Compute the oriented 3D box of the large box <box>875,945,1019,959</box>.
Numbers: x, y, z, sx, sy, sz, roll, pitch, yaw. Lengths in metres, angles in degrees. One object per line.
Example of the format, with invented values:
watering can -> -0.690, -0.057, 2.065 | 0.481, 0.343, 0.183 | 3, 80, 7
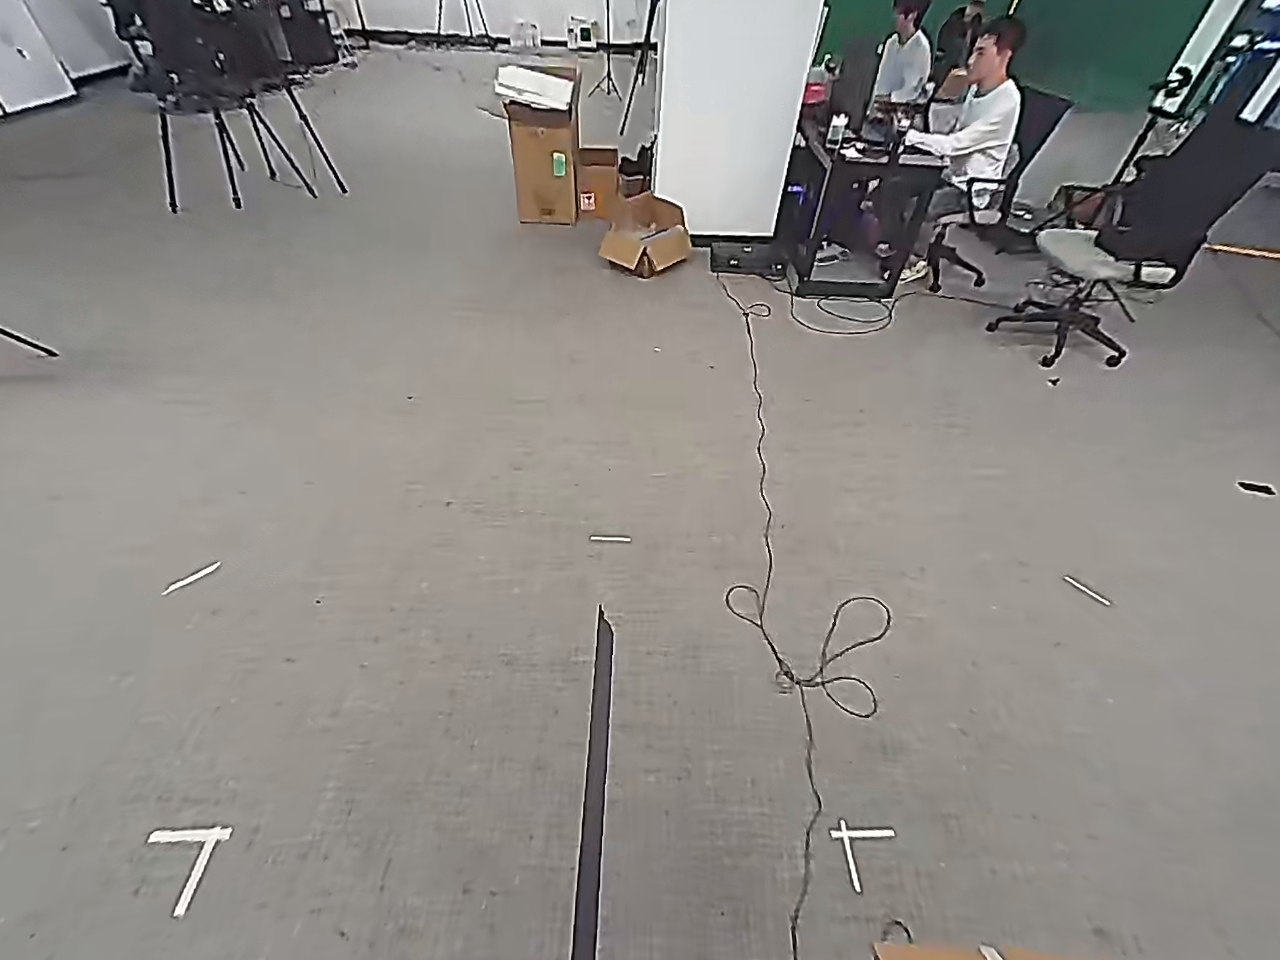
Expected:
large box -> 0.466, 0.792, 0.551 | 0.320, 0.408, 0.320 | 0, 80, 6
